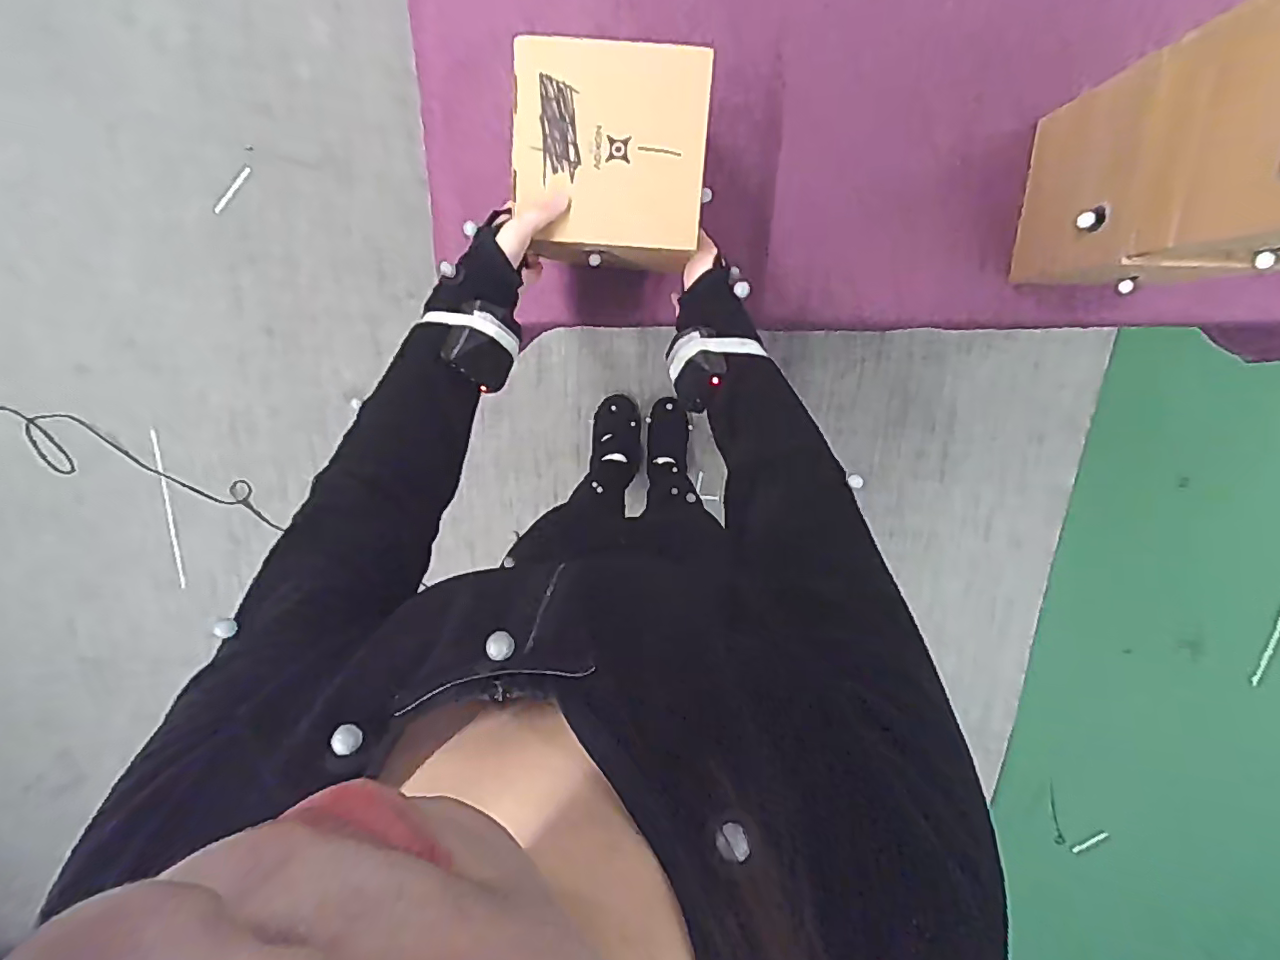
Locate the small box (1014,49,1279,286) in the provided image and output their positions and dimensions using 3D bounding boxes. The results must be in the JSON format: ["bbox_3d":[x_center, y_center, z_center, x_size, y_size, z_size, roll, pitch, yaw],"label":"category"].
[{"bbox_3d":[0.524,-0.297,0.552,0.168,0.176,0.179,2,104,1],"label":"small box"}]

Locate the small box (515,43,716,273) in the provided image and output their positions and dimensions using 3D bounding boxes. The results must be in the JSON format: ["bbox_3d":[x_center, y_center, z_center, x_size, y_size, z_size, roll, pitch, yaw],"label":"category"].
[{"bbox_3d":[-0.023,-0.316,0.566,0.179,0.176,0.168,4,105,0],"label":"small box"}]

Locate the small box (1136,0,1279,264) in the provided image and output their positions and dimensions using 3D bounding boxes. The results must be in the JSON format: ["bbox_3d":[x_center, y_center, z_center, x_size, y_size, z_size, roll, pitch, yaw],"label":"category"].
[{"bbox_3d":[0.524,-0.263,0.392,0.168,0.176,0.179,2,106,1],"label":"small box"}]
